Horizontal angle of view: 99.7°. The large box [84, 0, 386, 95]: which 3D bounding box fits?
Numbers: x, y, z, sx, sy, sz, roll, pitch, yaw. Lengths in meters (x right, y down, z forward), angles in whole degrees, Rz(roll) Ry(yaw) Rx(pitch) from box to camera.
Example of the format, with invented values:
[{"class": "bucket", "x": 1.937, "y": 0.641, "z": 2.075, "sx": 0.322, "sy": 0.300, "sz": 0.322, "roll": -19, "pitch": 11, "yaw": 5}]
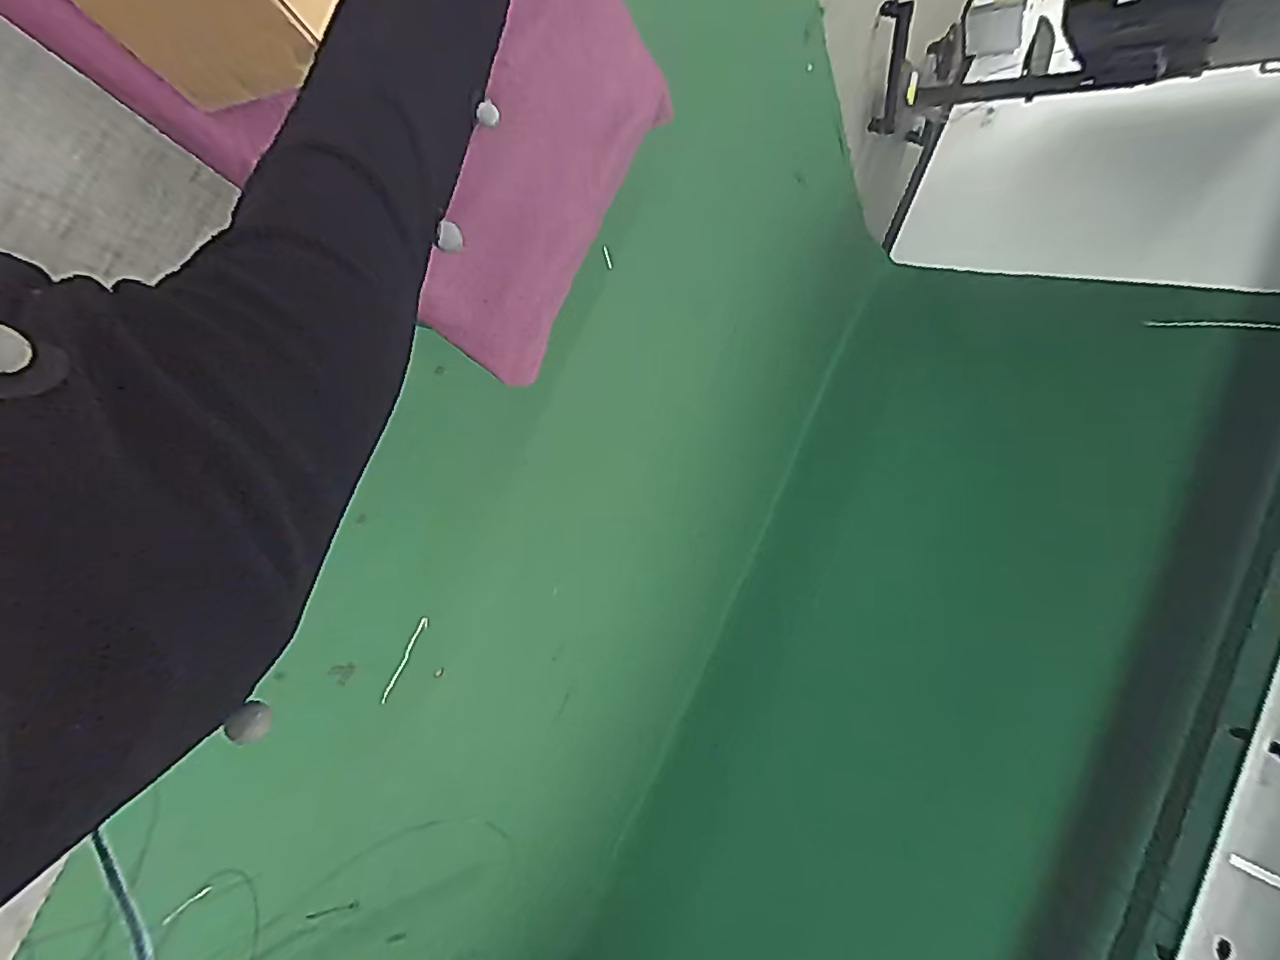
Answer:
[{"class": "large box", "x": -0.321, "y": -0.579, "z": 0.387, "sx": 0.408, "sy": 0.320, "sz": 0.320, "roll": -62, "pitch": 145, "yaw": -8}]
